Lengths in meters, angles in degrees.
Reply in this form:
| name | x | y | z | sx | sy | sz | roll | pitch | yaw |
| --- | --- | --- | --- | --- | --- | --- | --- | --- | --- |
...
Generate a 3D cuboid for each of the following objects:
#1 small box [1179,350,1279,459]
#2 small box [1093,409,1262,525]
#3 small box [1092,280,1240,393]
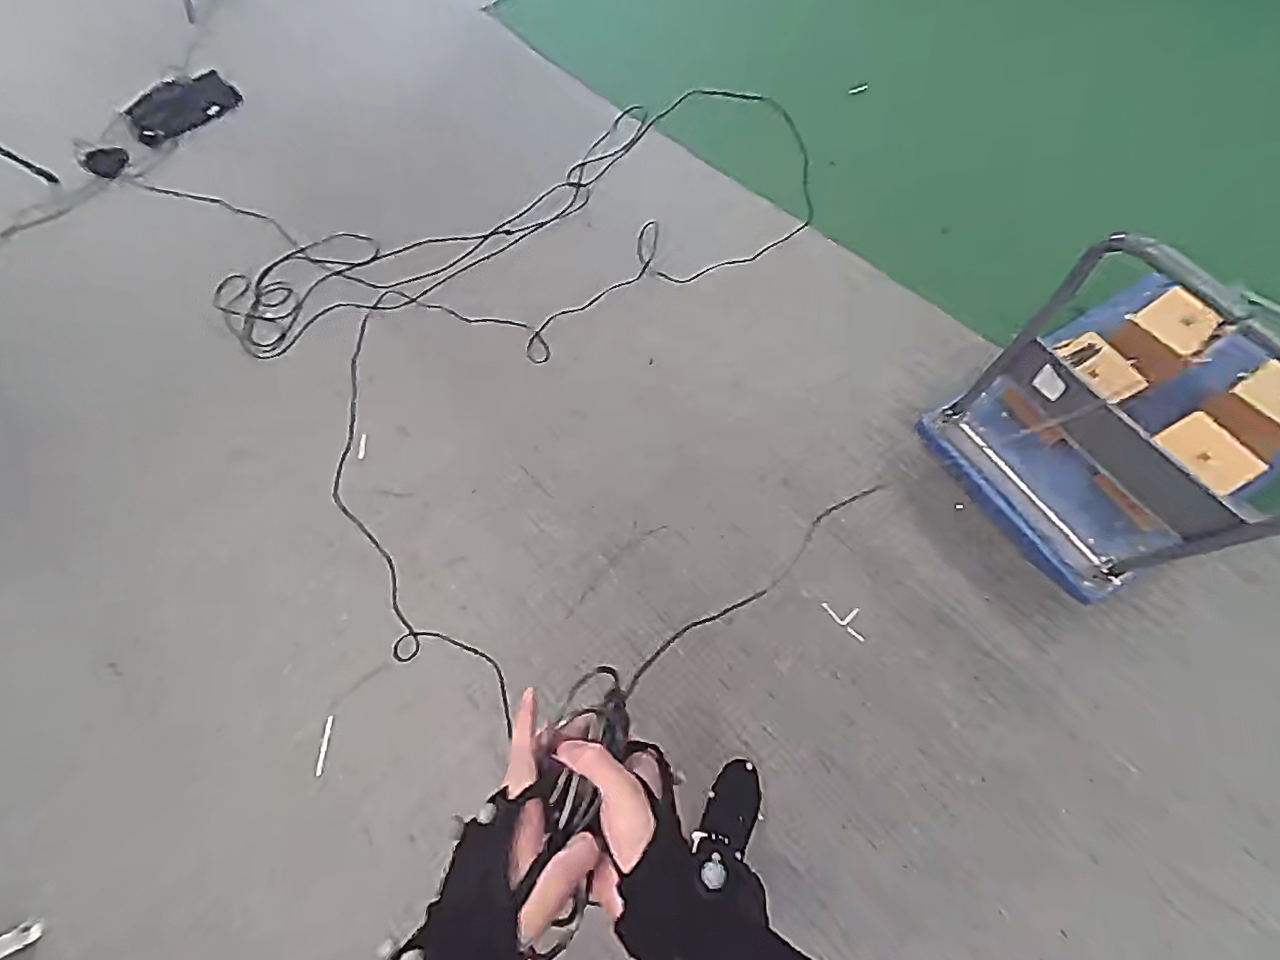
| name | x | y | z | sx | sy | sz | roll | pitch | yaw |
| --- | --- | --- | --- | --- | --- | --- | --- | --- | --- |
| small box | 1.429 | -0.162 | 1.251 | 0.179 | 0.176 | 0.168 | -34 | 67 | -7 |
| small box | 1.198 | -0.023 | 1.224 | 0.179 | 0.176 | 0.168 | -30 | 68 | -6 |
| small box | 1.286 | -0.348 | 1.343 | 0.179 | 0.176 | 0.168 | -34 | 69 | -7 |
